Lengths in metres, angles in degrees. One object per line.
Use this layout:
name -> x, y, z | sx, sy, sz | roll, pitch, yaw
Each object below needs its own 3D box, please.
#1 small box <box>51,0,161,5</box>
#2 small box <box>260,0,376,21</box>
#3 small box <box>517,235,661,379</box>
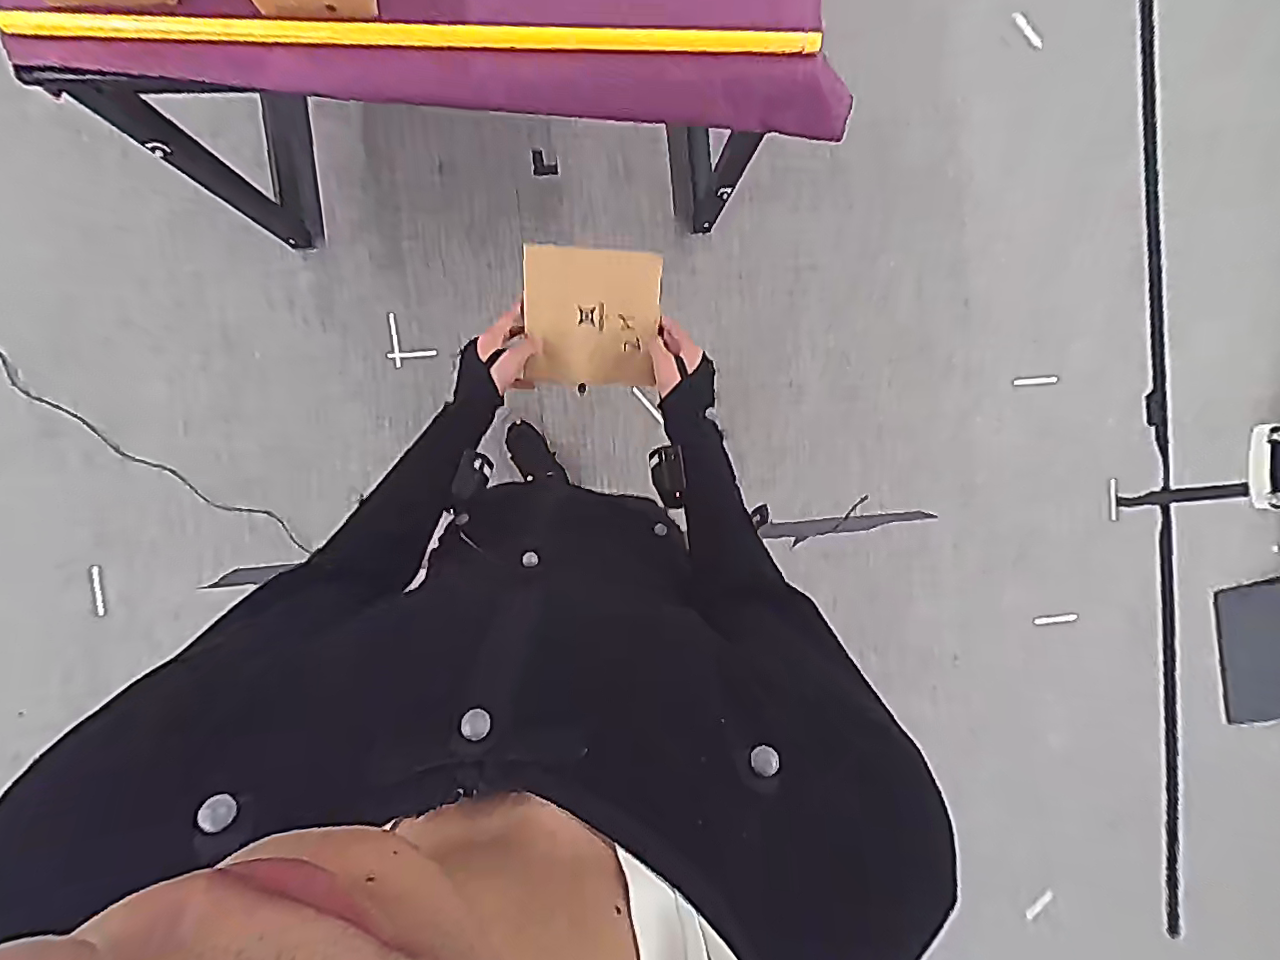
small box -> -0.753, -0.761, 0.696 | 0.179, 0.176, 0.168 | -6, 94, -6
small box -> -0.475, -0.772, 0.724 | 0.168, 0.176, 0.179 | -5, 94, -5
small box -> -0.074, -0.227, 0.749 | 0.179, 0.176, 0.168 | 1, 102, -8
